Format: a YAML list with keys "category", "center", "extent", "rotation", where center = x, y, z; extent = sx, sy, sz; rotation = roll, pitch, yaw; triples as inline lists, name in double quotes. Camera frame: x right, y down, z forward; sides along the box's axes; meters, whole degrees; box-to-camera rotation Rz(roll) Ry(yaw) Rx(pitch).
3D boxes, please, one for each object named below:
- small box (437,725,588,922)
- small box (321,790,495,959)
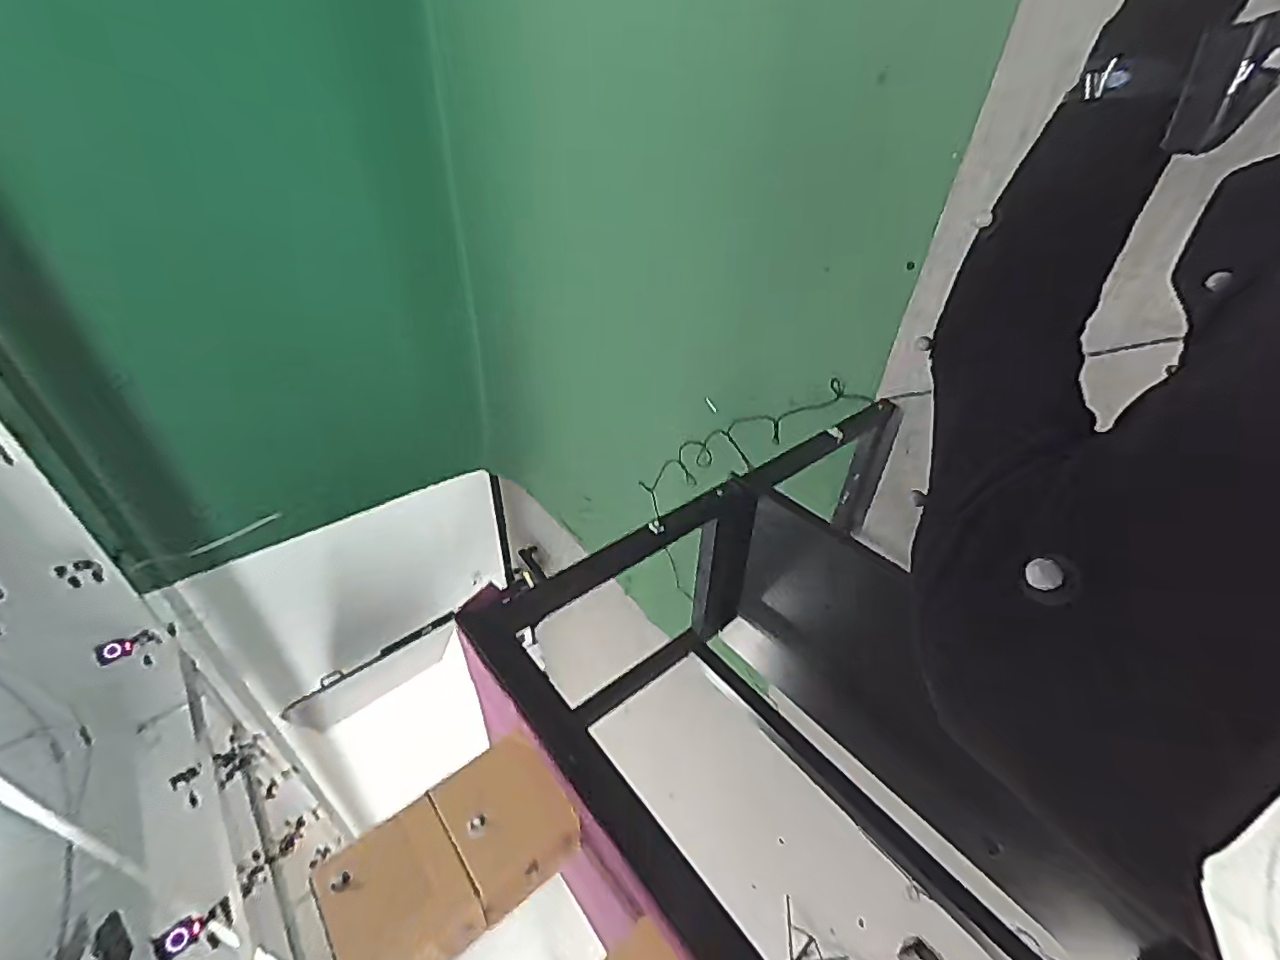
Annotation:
- category: "small box"
  center: [-0.195, 0.536, 0.860]
  extent: [0.179, 0.176, 0.168]
  rotation: [39, 139, 35]
- category: "small box"
  center: [-0.318, 0.596, 0.773]
  extent: [0.179, 0.176, 0.168]
  rotation: [40, 139, 34]
